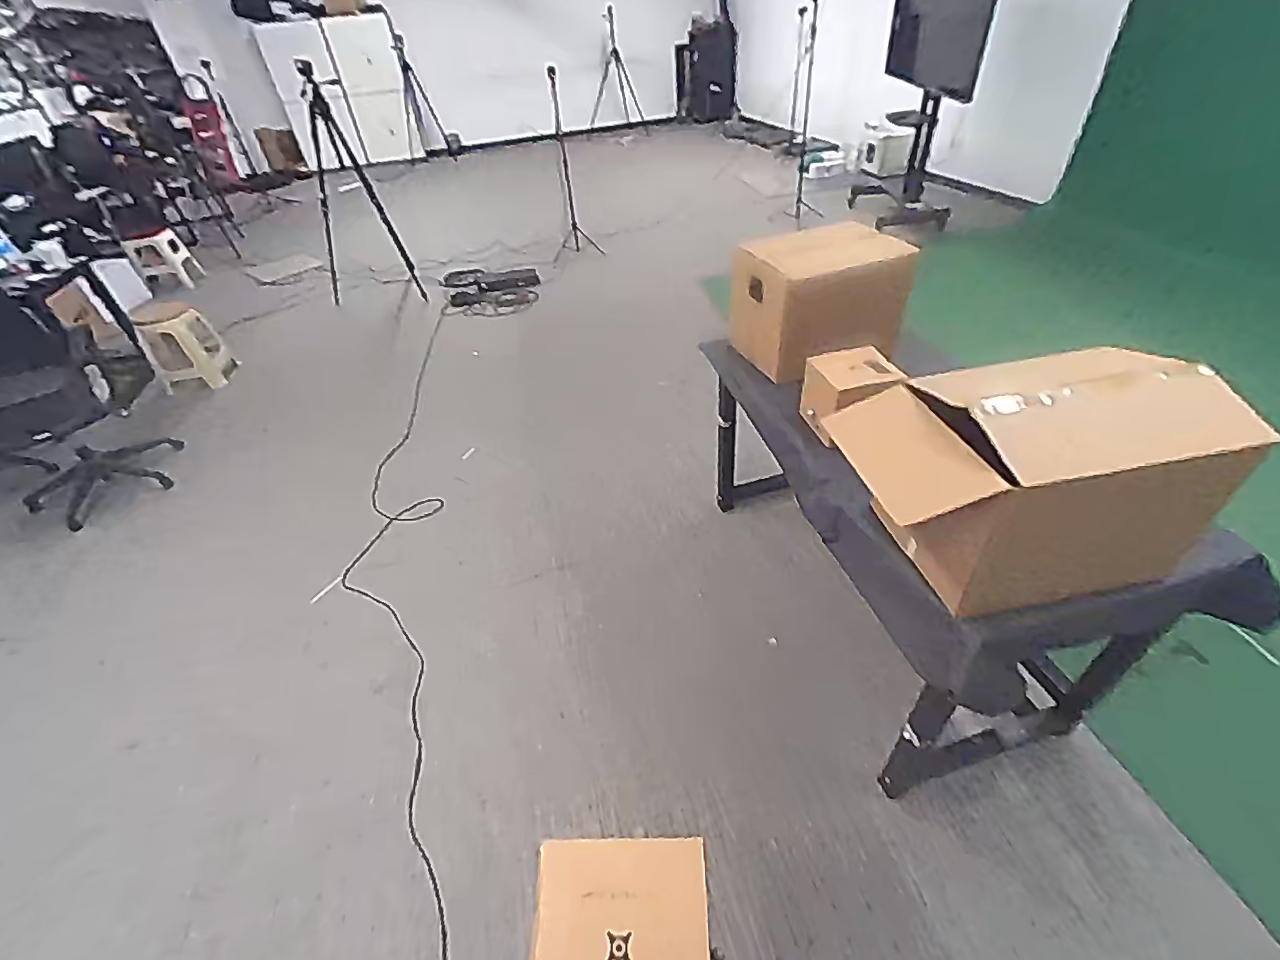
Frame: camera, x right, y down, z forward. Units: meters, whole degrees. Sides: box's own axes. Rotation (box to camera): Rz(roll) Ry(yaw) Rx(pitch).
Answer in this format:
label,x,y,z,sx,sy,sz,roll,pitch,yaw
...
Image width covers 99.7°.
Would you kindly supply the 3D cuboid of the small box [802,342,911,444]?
label,x,y,z,sx,sy,sz,roll,pitch,yaw
small box,0.514,-0.209,1.311,0.179,0.176,0.168,-12,42,-5
